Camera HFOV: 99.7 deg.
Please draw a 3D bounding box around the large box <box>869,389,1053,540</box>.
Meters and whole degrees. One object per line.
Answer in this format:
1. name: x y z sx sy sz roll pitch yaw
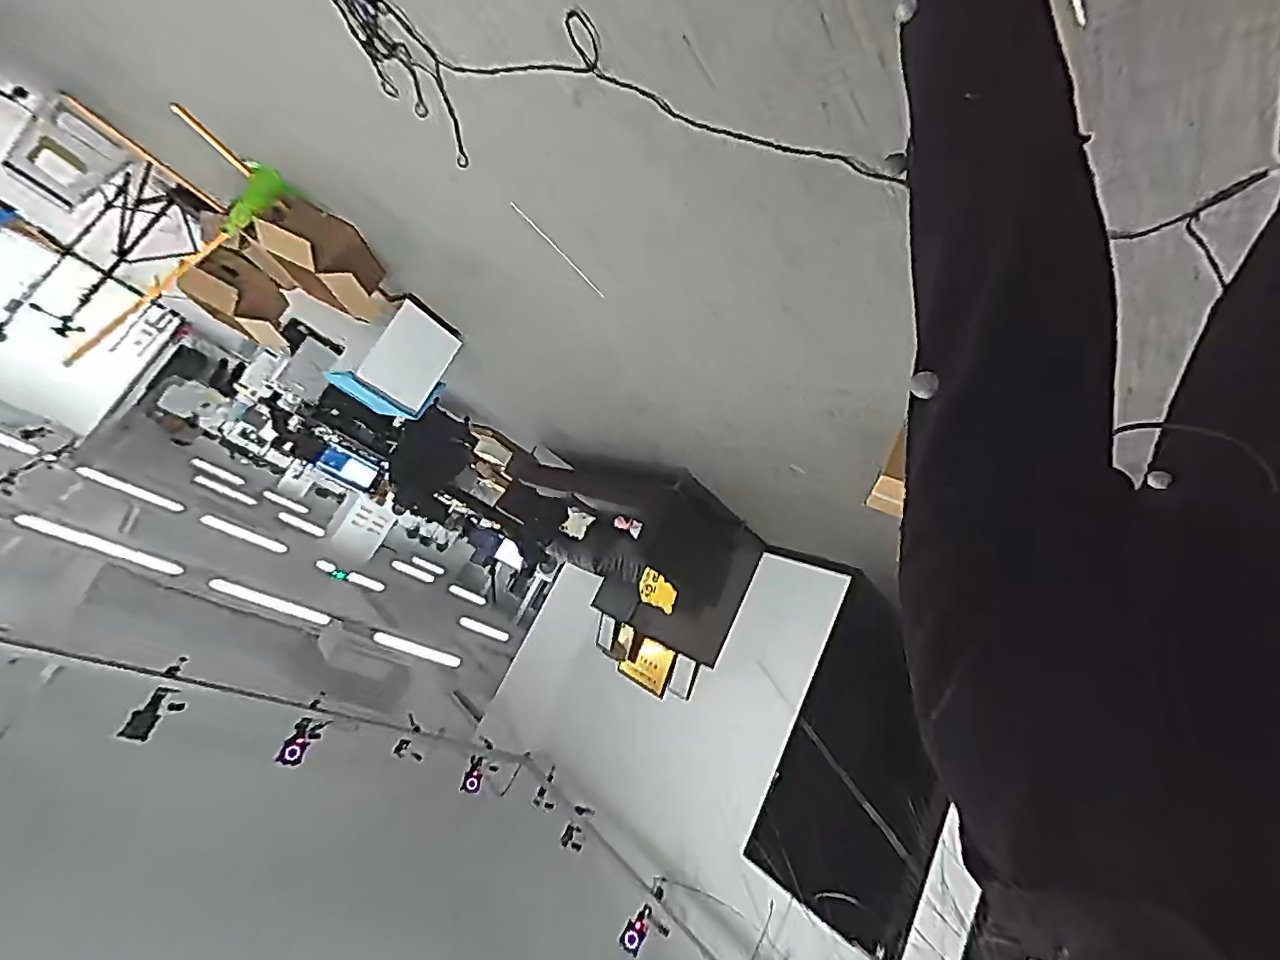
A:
1. large box: 1.036 -0.048 1.786 0.408 0.320 0.320 24 167 20
